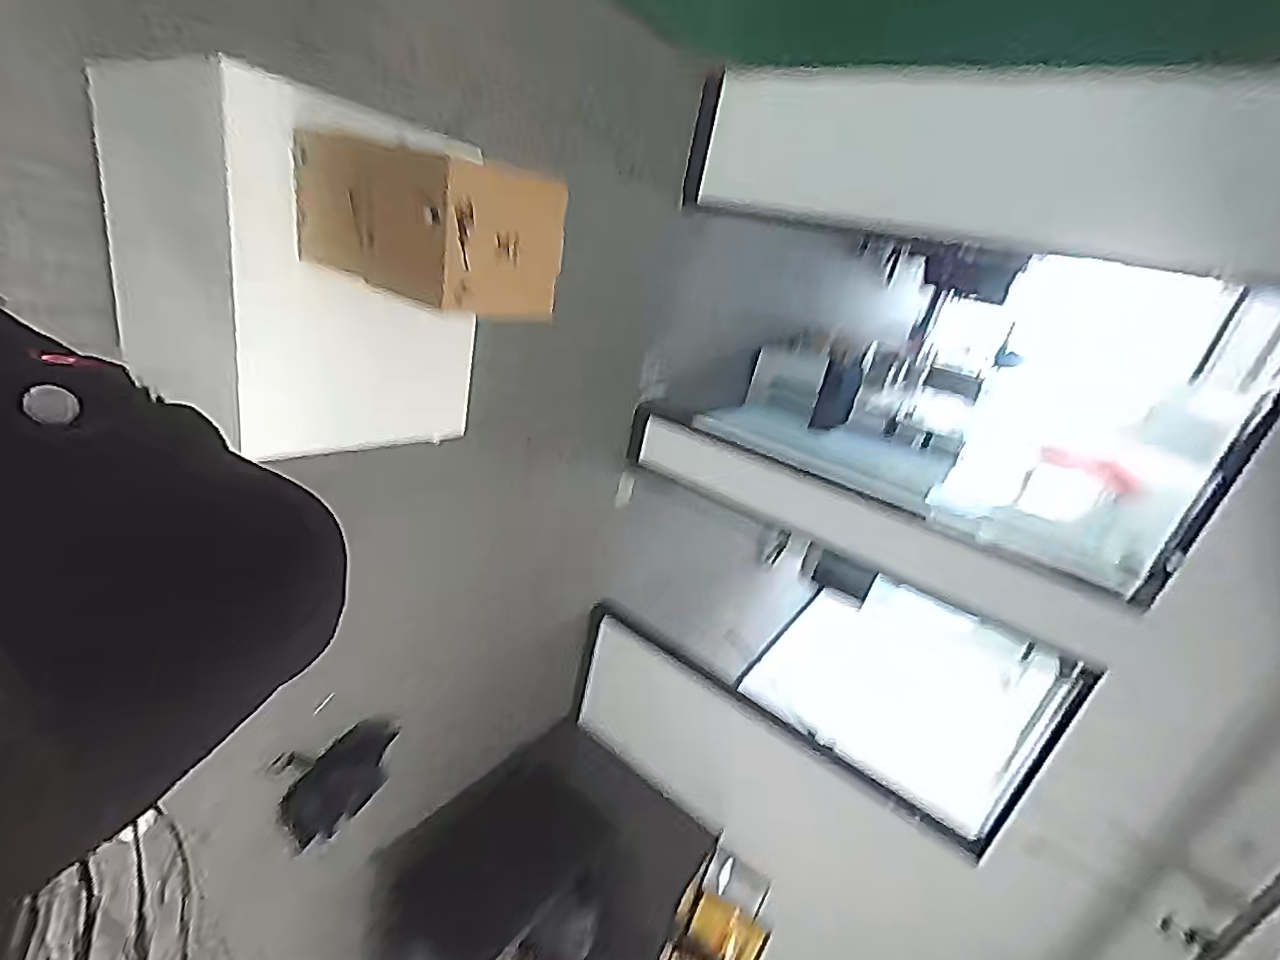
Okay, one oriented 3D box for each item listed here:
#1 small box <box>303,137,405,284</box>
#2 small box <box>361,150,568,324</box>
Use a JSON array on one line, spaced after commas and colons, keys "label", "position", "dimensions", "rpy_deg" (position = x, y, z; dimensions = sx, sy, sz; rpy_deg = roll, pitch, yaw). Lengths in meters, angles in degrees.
[{"label": "small box", "position": [-0.348, -0.364, 0.757], "dimensions": [0.179, 0.176, 0.168], "rpy_deg": [-20, 129, -52]}, {"label": "small box", "position": [-0.220, -0.299, 0.680], "dimensions": [0.179, 0.176, 0.168], "rpy_deg": [-21, 129, -52]}]
